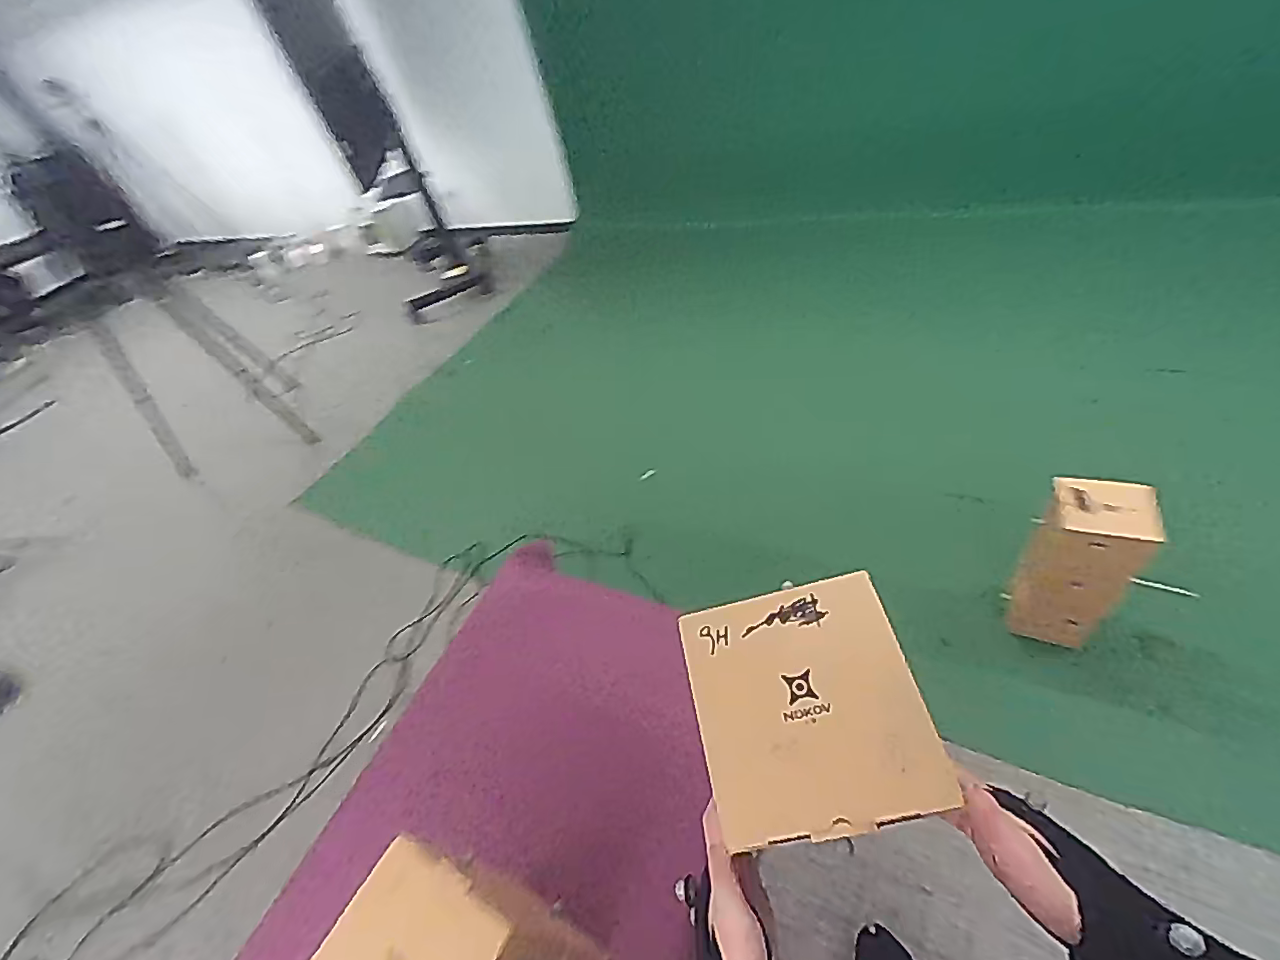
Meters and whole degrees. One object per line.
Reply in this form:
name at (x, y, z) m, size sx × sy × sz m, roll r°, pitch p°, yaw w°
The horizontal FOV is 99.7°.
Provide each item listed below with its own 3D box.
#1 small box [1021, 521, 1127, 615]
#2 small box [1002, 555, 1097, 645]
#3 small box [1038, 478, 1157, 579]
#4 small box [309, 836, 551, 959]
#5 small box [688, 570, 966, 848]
small box at (1.118, 0.231, 1.407) m, size 0.179 × 0.176 × 0.168 m, roll 7°, pitch 50°, yaw 26°
small box at (1.148, 0.342, 1.521) m, size 0.179 × 0.176 × 0.168 m, roll 11°, pitch 51°, yaw 27°
small box at (1.078, 0.117, 1.294) m, size 0.179 × 0.176 × 0.168 m, roll 7°, pitch 51°, yaw 24°
small box at (-0.209, 0.503, 0.536) m, size 0.168 × 0.176 × 0.179 m, roll 14°, pitch 53°, yaw 30°
small box at (0.152, 0.206, 0.479) m, size 0.168 × 0.176 × 0.179 m, roll -16°, pitch 55°, yaw 9°
